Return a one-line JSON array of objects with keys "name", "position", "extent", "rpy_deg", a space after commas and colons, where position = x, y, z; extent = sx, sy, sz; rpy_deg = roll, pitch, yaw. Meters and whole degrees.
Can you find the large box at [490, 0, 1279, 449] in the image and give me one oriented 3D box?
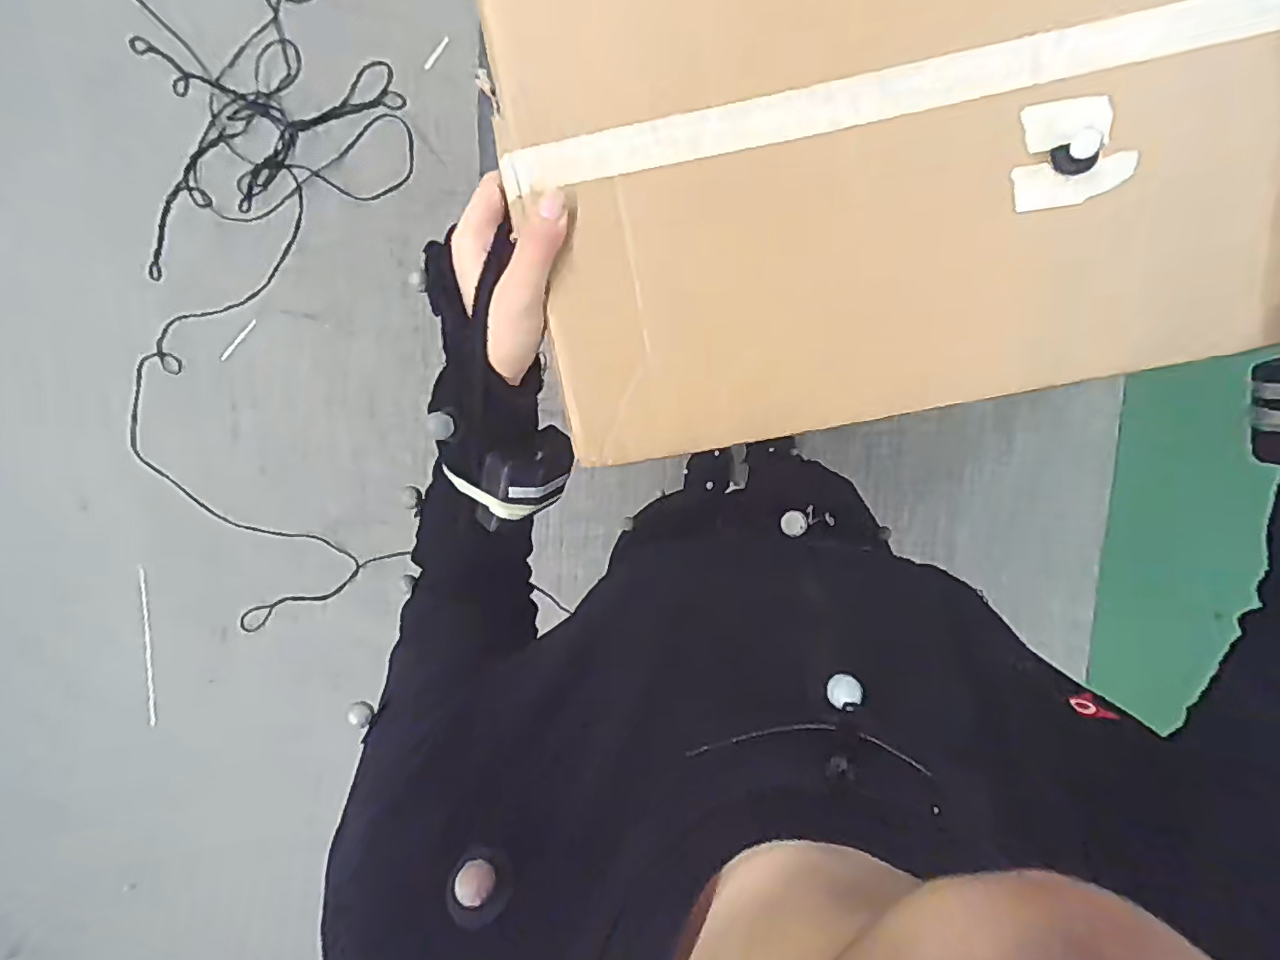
[{"name": "large box", "position": [0.135, -0.229, 0.417], "extent": [0.408, 0.320, 0.320], "rpy_deg": [-11, 102, 2]}]
